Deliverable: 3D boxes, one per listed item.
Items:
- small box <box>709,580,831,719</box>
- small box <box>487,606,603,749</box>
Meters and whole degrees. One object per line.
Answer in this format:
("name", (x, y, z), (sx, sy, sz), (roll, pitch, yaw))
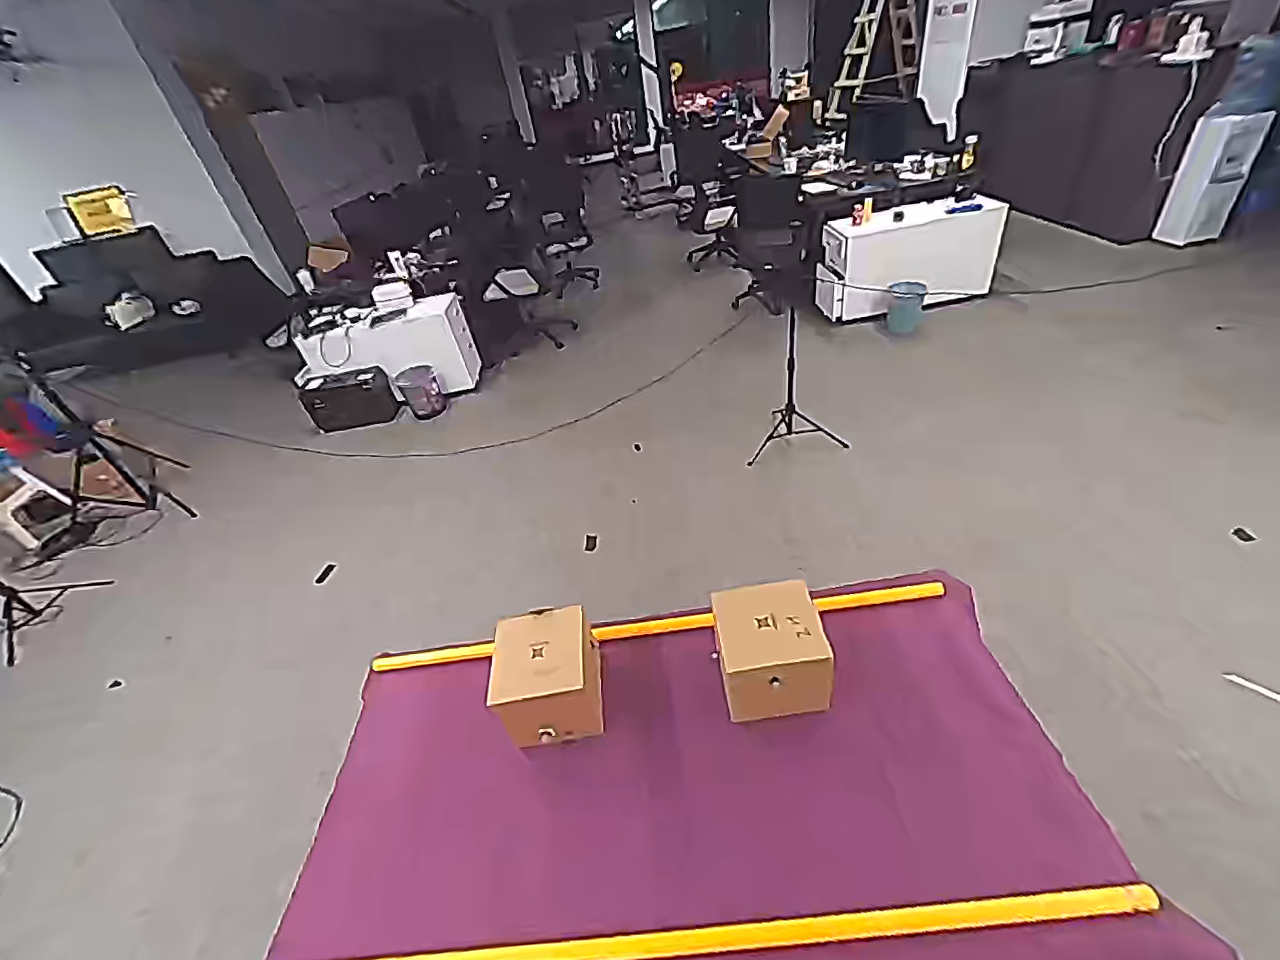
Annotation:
("small box", (0.230, 0.307, 0.971), (0.179, 0.176, 0.168), (-9, 39, 3))
("small box", (-0.167, 0.365, 1.002), (0.168, 0.176, 0.179), (-11, 38, 1))
